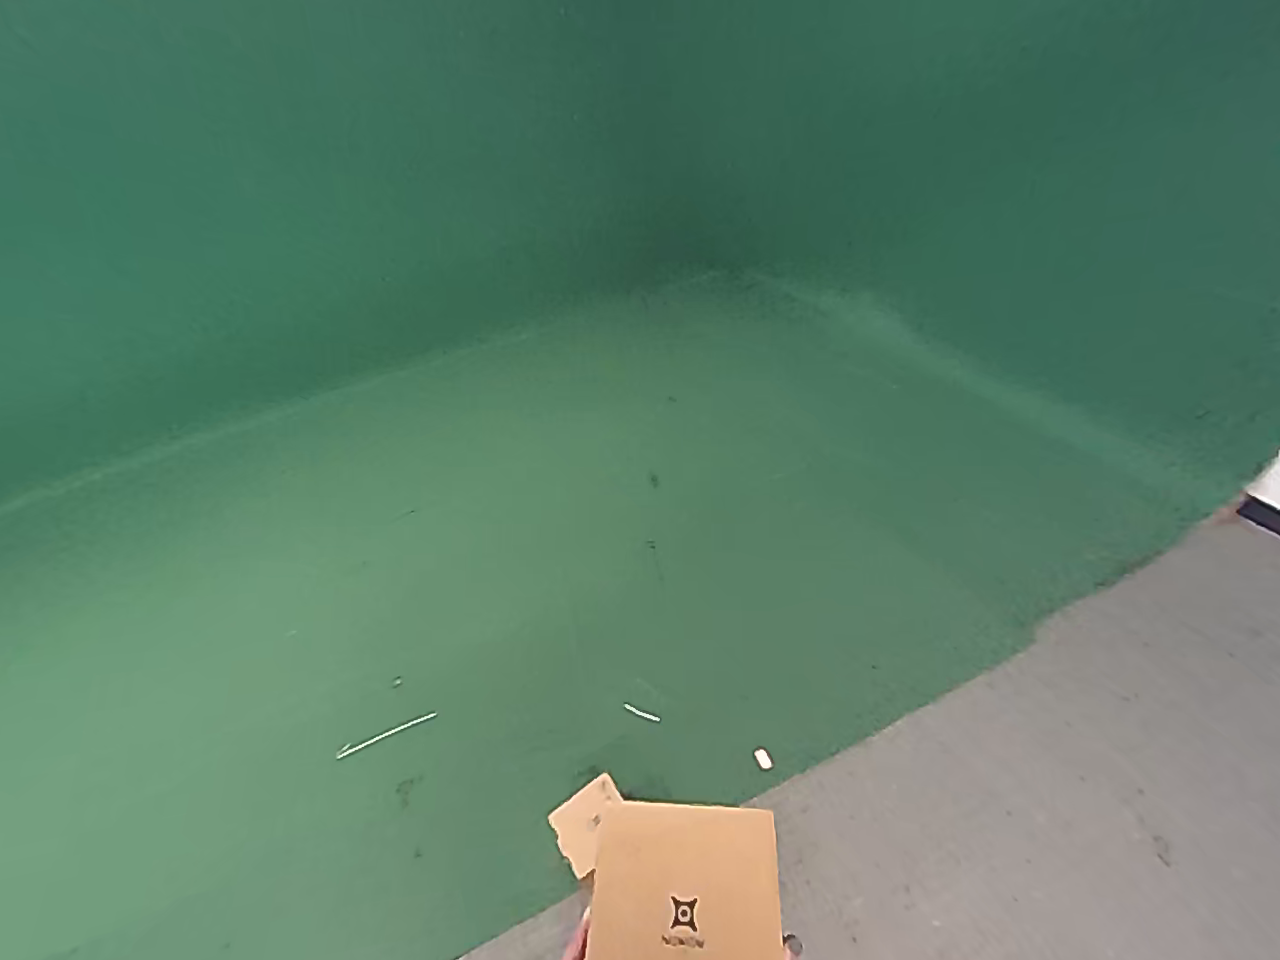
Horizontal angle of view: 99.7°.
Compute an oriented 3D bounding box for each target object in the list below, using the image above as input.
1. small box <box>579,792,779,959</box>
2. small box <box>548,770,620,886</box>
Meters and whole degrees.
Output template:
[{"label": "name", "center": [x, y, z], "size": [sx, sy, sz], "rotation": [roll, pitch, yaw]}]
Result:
[{"label": "small box", "center": [0.043, 0.420, 0.520], "size": [0.168, 0.176, 0.179], "rotation": [-2, 50, 9]}, {"label": "small box", "center": [-0.100, 0.880, 1.356], "size": [0.179, 0.176, 0.168], "rotation": [-30, 45, -18]}]
